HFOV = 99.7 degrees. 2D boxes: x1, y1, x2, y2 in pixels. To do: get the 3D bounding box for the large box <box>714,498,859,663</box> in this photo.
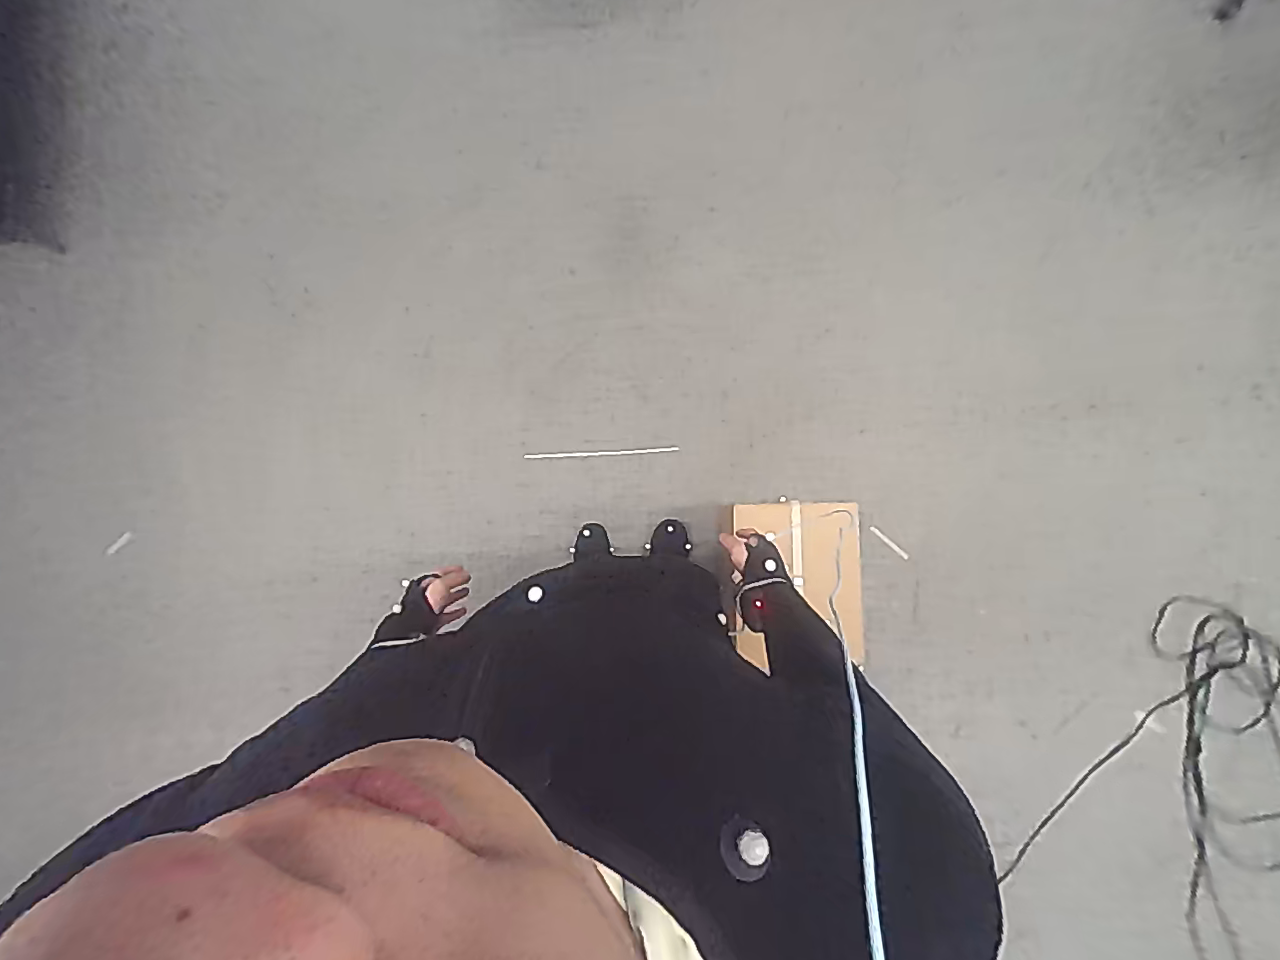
[{"bbox_3d":[0.384,0.255,1.491,0.320,0.320,0.408,-1,87,1],"label":"large box"}]
